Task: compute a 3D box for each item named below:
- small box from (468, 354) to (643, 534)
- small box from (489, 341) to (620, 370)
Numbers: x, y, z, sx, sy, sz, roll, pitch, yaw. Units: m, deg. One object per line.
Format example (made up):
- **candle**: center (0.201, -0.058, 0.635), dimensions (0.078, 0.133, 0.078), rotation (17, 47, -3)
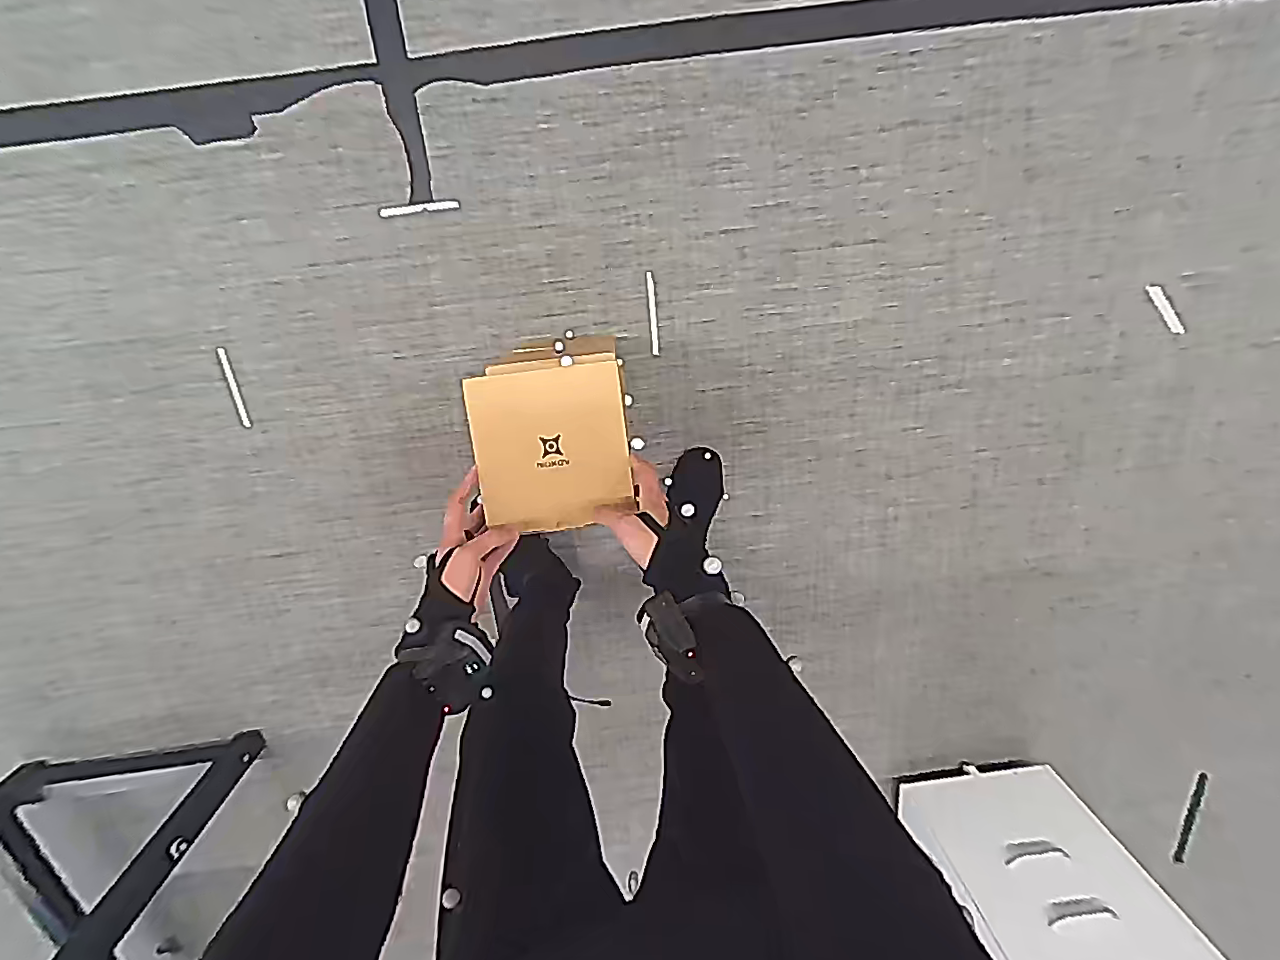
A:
- **small box**: center (-0.091, -0.048, 0.650), dimensions (0.168, 0.176, 0.179), rotation (-8, 100, 0)
- **small box**: center (-0.110, -0.112, 0.813), dimensions (0.179, 0.176, 0.168), rotation (-7, 109, -2)
